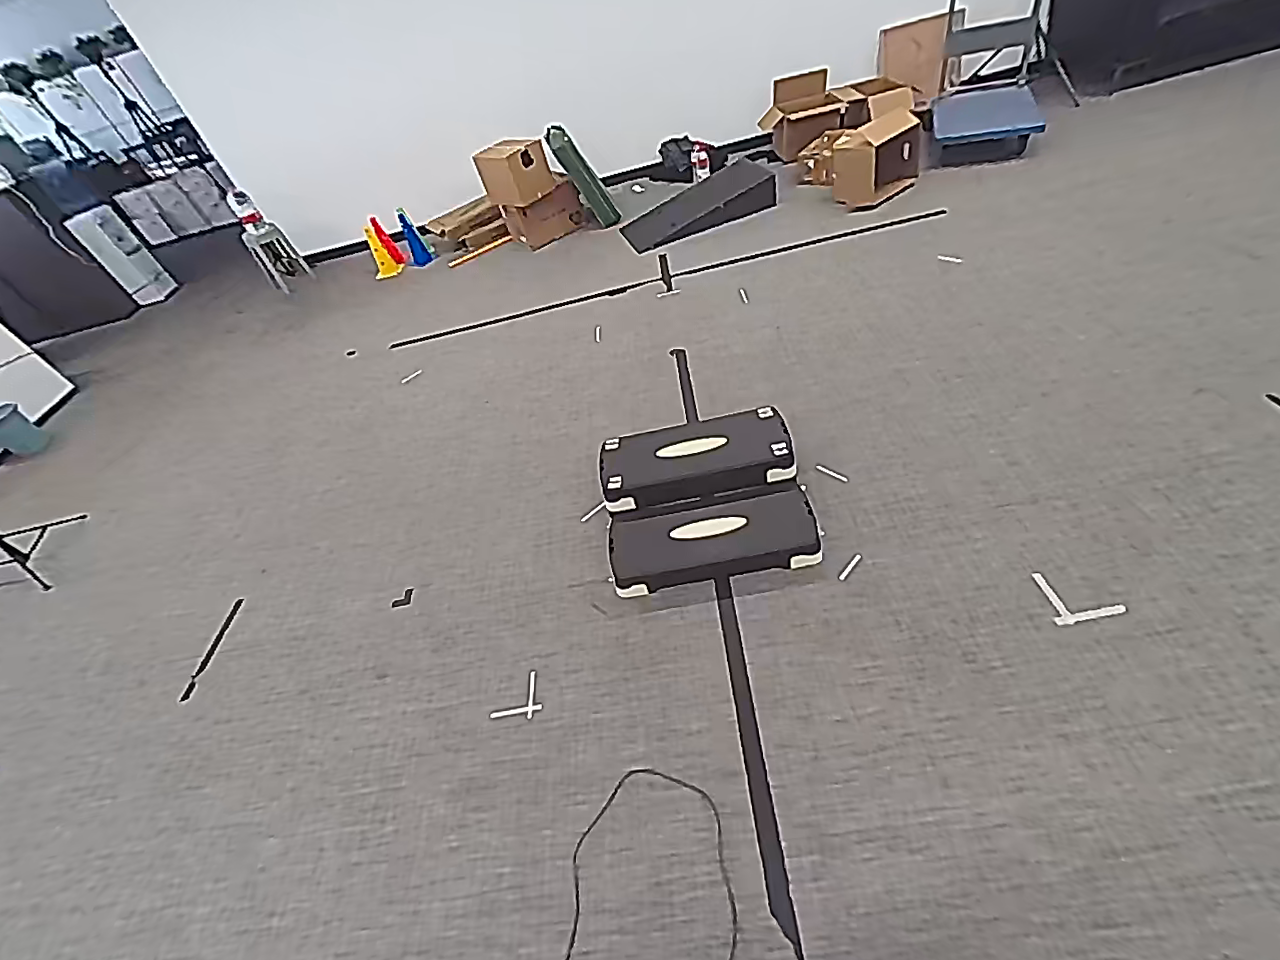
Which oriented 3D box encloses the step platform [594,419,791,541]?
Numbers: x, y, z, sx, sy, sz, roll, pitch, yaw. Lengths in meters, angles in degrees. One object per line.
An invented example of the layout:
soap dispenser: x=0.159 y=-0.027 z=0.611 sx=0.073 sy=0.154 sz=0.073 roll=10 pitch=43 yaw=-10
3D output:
step platform: x=0.178 y=-0.006 z=1.928 sx=0.684 sy=0.204 sz=0.286 roll=-12 pitch=45 yaw=5
